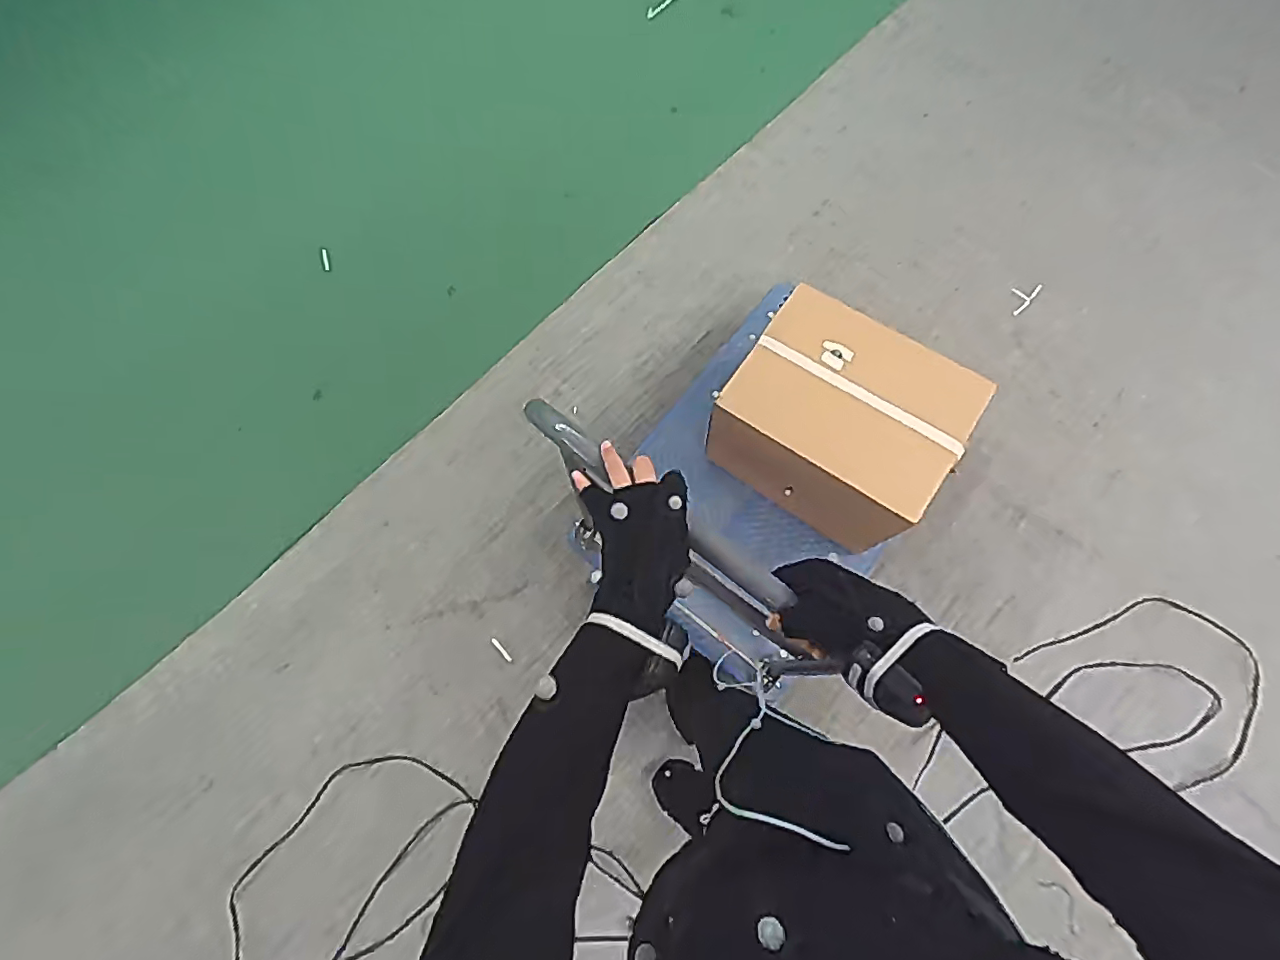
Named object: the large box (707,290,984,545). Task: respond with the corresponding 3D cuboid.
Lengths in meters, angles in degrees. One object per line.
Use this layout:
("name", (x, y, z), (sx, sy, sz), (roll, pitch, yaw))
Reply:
("large box", (0.392, -0.112, 1.133), (0.408, 0.320, 0.320), (32, 78, 13))
